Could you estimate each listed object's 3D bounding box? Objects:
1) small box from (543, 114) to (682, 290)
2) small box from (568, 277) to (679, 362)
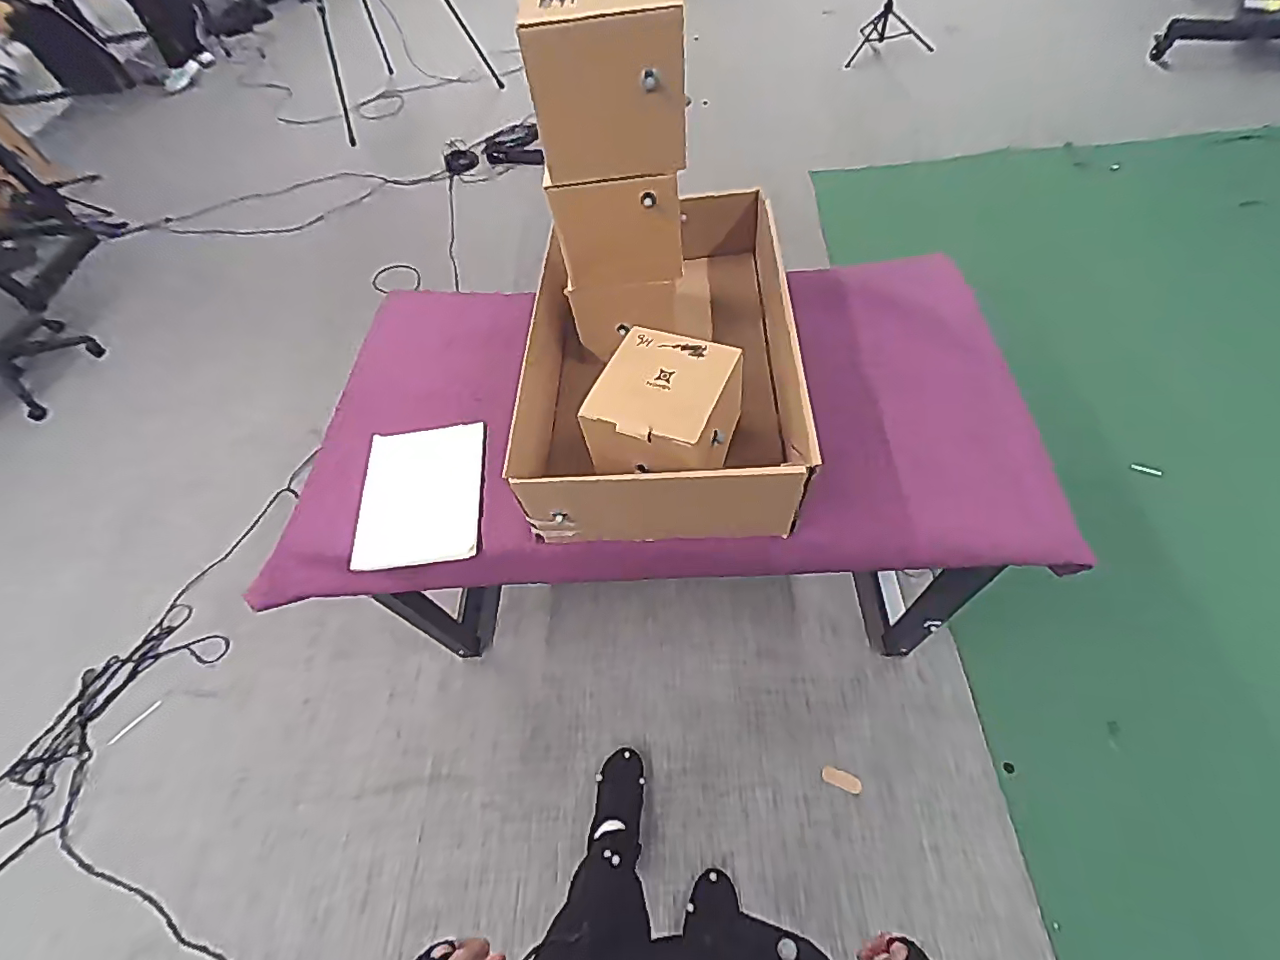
[{"bbox_3d":[-0.032,-0.403,0.802,0.179,0.176,0.168,-4,58,5],"label":"small box"},{"bbox_3d":[-0.020,-0.320,0.940,0.168,0.176,0.179,-2,59,6],"label":"small box"}]
